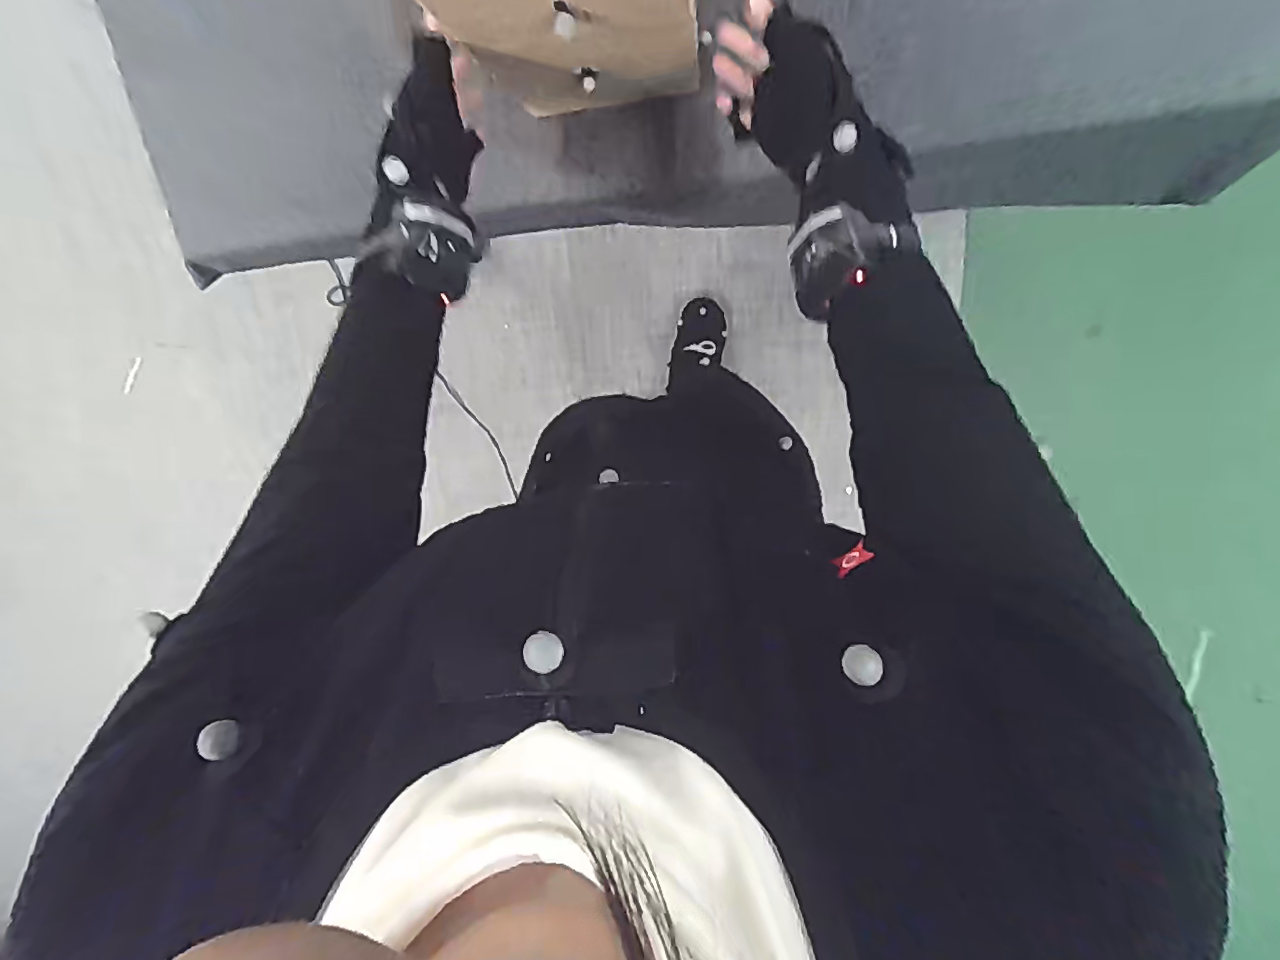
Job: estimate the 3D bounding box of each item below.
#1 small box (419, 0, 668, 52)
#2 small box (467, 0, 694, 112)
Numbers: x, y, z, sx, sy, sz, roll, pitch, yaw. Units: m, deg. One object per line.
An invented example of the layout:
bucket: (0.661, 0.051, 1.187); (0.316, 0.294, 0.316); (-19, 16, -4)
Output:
small box: (-0.066, -0.386, 0.309); (0.179, 0.176, 0.168); (-4, 109, 10)
small box: (-0.045, -0.441, 0.459); (0.179, 0.176, 0.168); (-2, 108, 10)
